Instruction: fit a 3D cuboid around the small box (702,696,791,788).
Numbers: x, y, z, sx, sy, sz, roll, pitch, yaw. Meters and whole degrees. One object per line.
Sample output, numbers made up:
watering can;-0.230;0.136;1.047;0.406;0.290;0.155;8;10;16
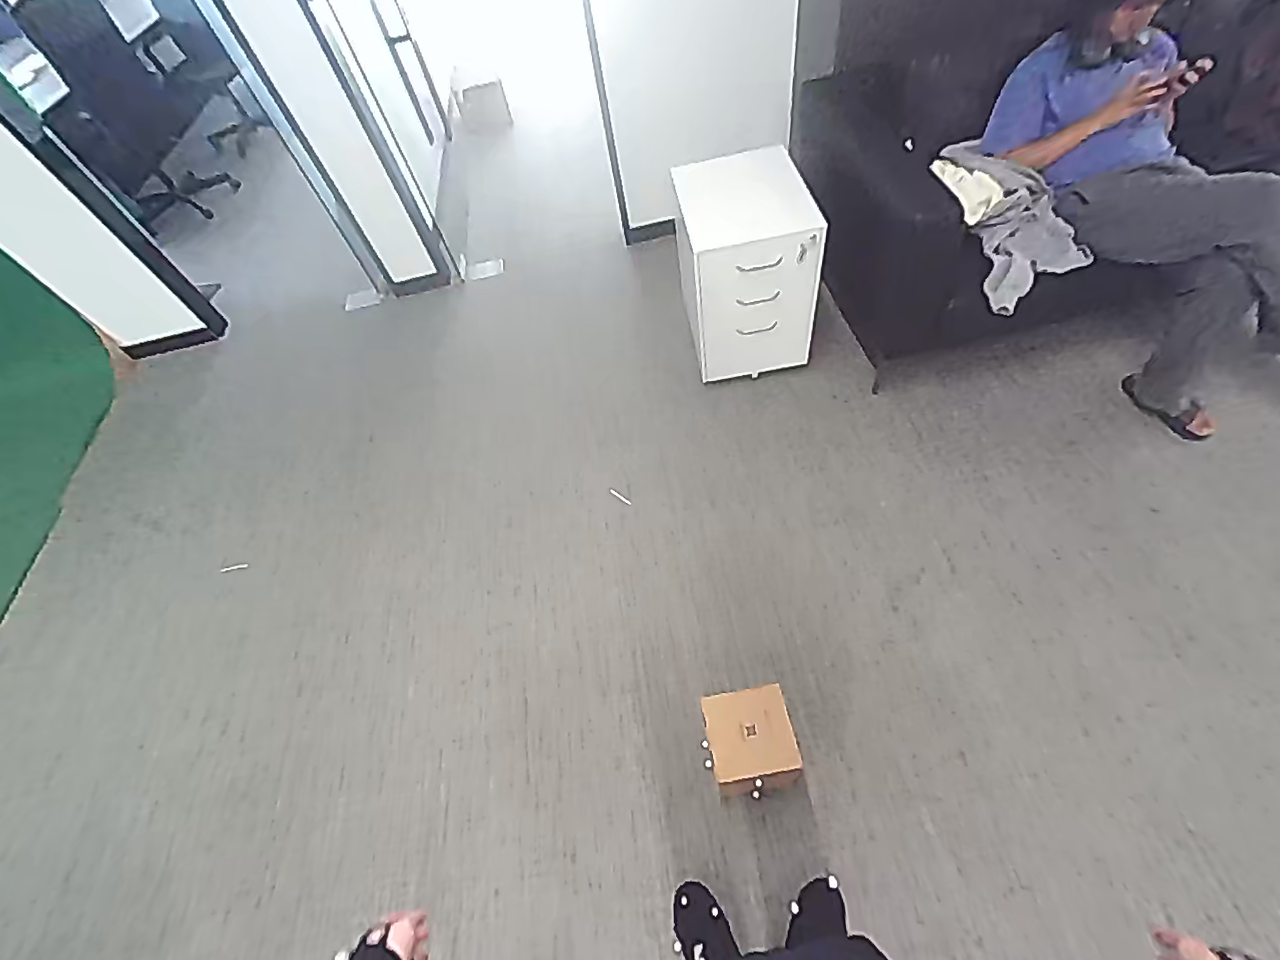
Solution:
small box;0.252;0.642;1.318;0.179;0.176;0.168;-10;55;2
